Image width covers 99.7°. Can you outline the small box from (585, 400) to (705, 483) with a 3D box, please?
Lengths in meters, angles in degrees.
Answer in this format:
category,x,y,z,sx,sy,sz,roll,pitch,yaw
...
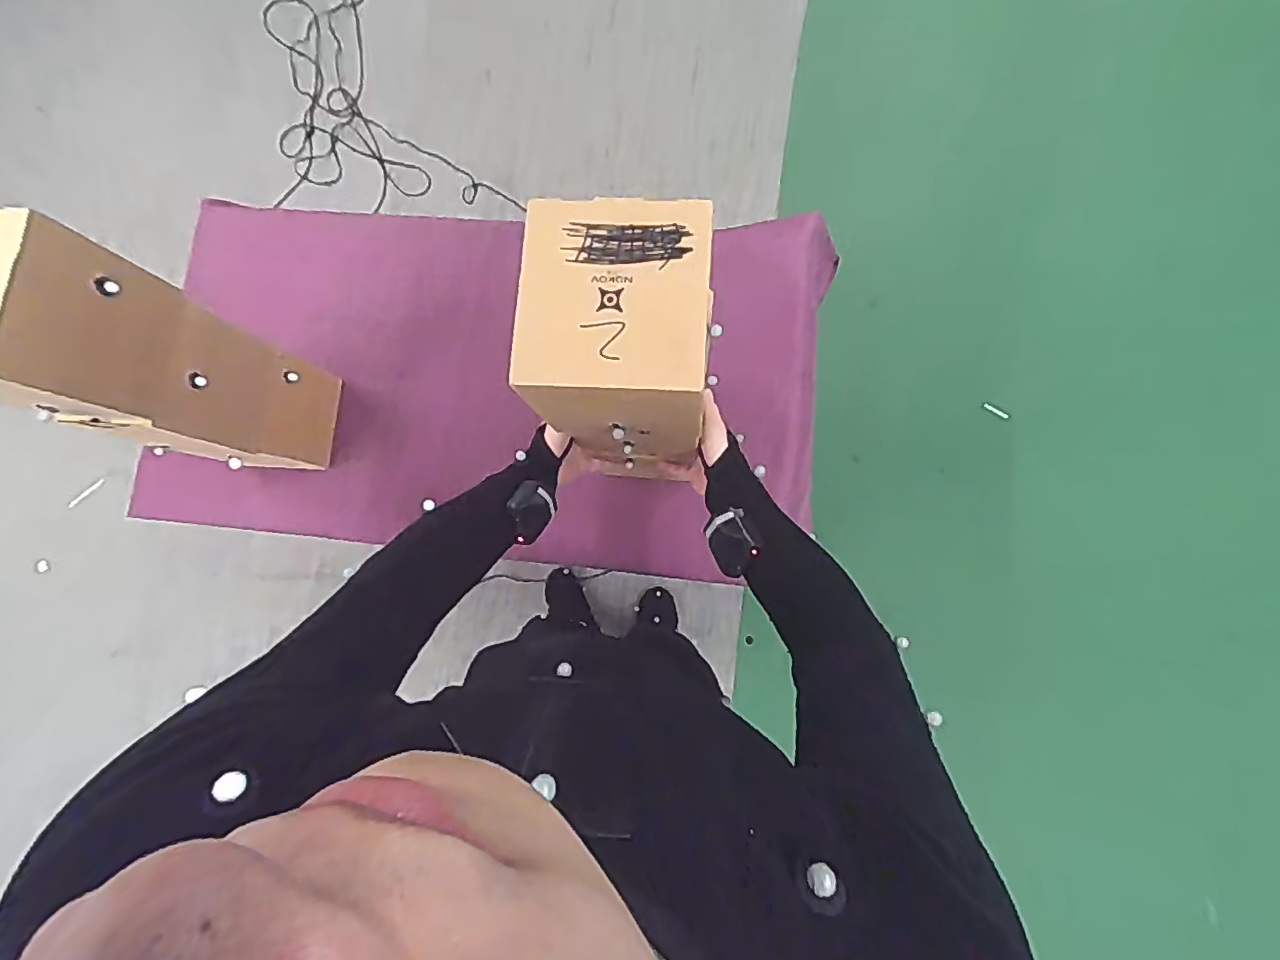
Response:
category,x,y,z,sx,sy,sz,roll,pitch,yaw
small box,0.017,-0.101,0.859,0.168,0.176,0.179,5,81,7

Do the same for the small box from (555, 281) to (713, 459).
category,x,y,z,sx,sy,sz,roll,pitch,yaw
small box,0.001,-0.130,0.697,0.168,0.176,0.179,6,81,6

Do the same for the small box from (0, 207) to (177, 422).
category,x,y,z,sx,sy,sz,roll,pitch,yaw
small box,-0.674,-0.175,0.602,0.168,0.176,0.179,4,81,6

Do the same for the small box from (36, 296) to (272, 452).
category,x,y,z,sx,sy,sz,roll,pitch,yaw
small box,-0.663,-0.141,0.761,0.168,0.176,0.179,4,80,6

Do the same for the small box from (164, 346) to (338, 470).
category,x,y,z,sx,sy,sz,roll,pitch,yaw
small box,-0.649,-0.117,0.923,0.168,0.176,0.179,3,81,6
